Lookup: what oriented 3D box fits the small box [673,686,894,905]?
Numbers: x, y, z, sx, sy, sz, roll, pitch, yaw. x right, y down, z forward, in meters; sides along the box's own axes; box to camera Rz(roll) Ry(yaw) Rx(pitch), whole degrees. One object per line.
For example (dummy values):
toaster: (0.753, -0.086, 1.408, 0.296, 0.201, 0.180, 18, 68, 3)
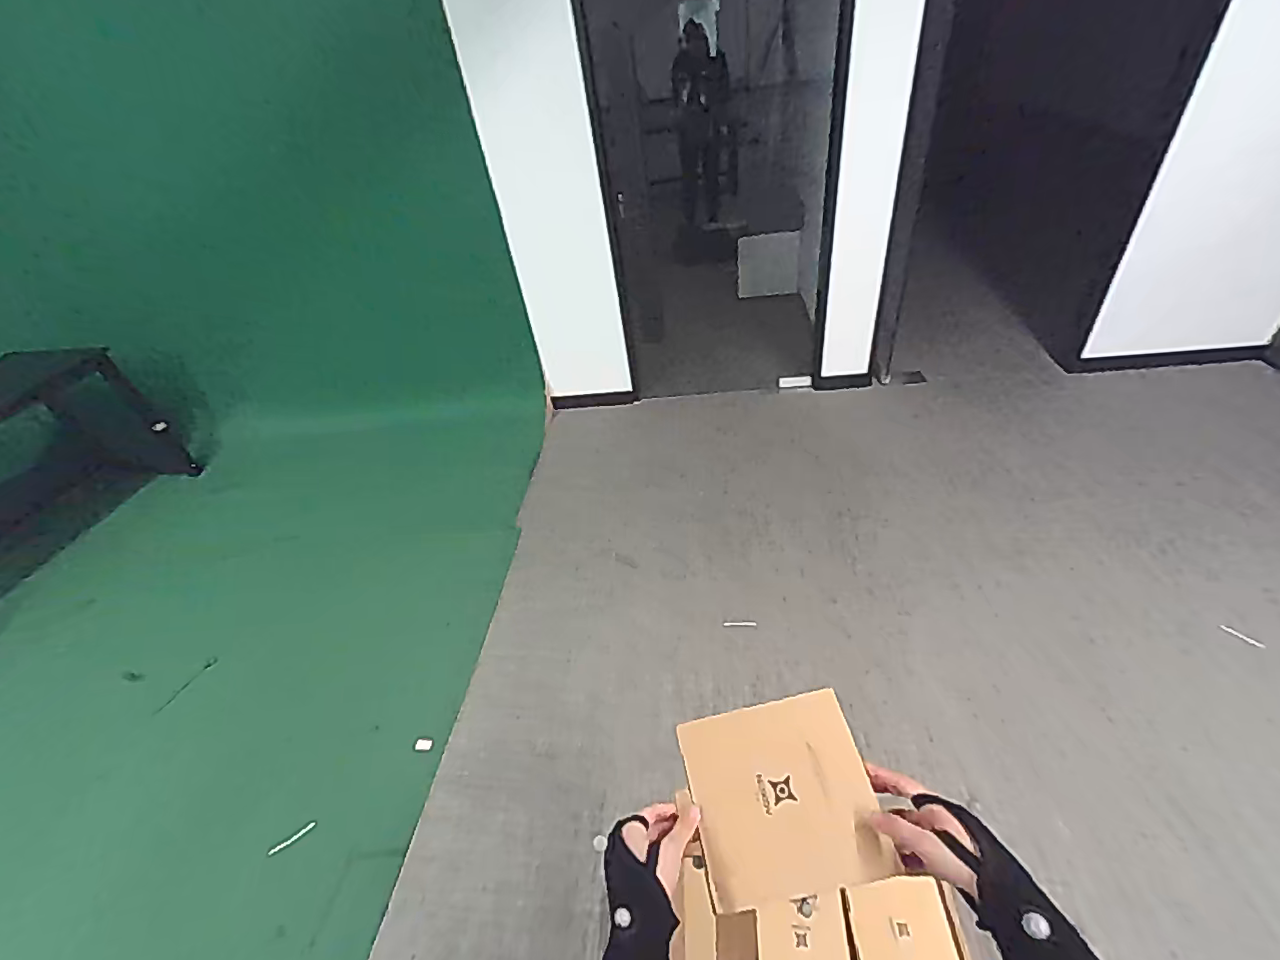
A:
small box: (0.145, 0.349, 0.591, 0.179, 0.176, 0.168, -13, 52, 2)
